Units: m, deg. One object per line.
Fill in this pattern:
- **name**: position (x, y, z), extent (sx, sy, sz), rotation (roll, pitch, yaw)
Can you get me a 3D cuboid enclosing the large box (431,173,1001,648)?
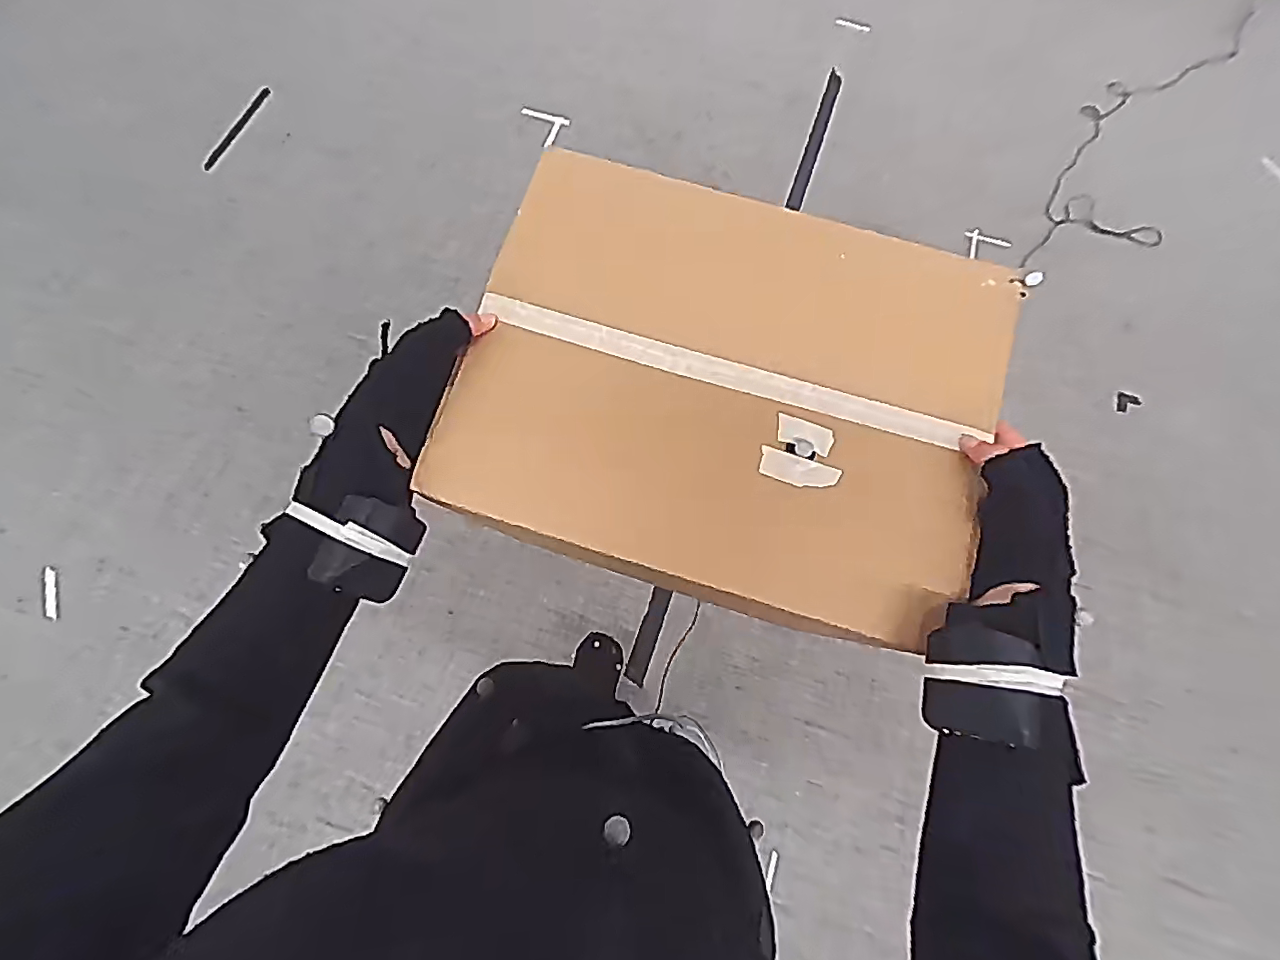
- **large box**: position (0.067, -0.042, 0.574), extent (0.408, 0.320, 0.320), rotation (17, 79, 3)
